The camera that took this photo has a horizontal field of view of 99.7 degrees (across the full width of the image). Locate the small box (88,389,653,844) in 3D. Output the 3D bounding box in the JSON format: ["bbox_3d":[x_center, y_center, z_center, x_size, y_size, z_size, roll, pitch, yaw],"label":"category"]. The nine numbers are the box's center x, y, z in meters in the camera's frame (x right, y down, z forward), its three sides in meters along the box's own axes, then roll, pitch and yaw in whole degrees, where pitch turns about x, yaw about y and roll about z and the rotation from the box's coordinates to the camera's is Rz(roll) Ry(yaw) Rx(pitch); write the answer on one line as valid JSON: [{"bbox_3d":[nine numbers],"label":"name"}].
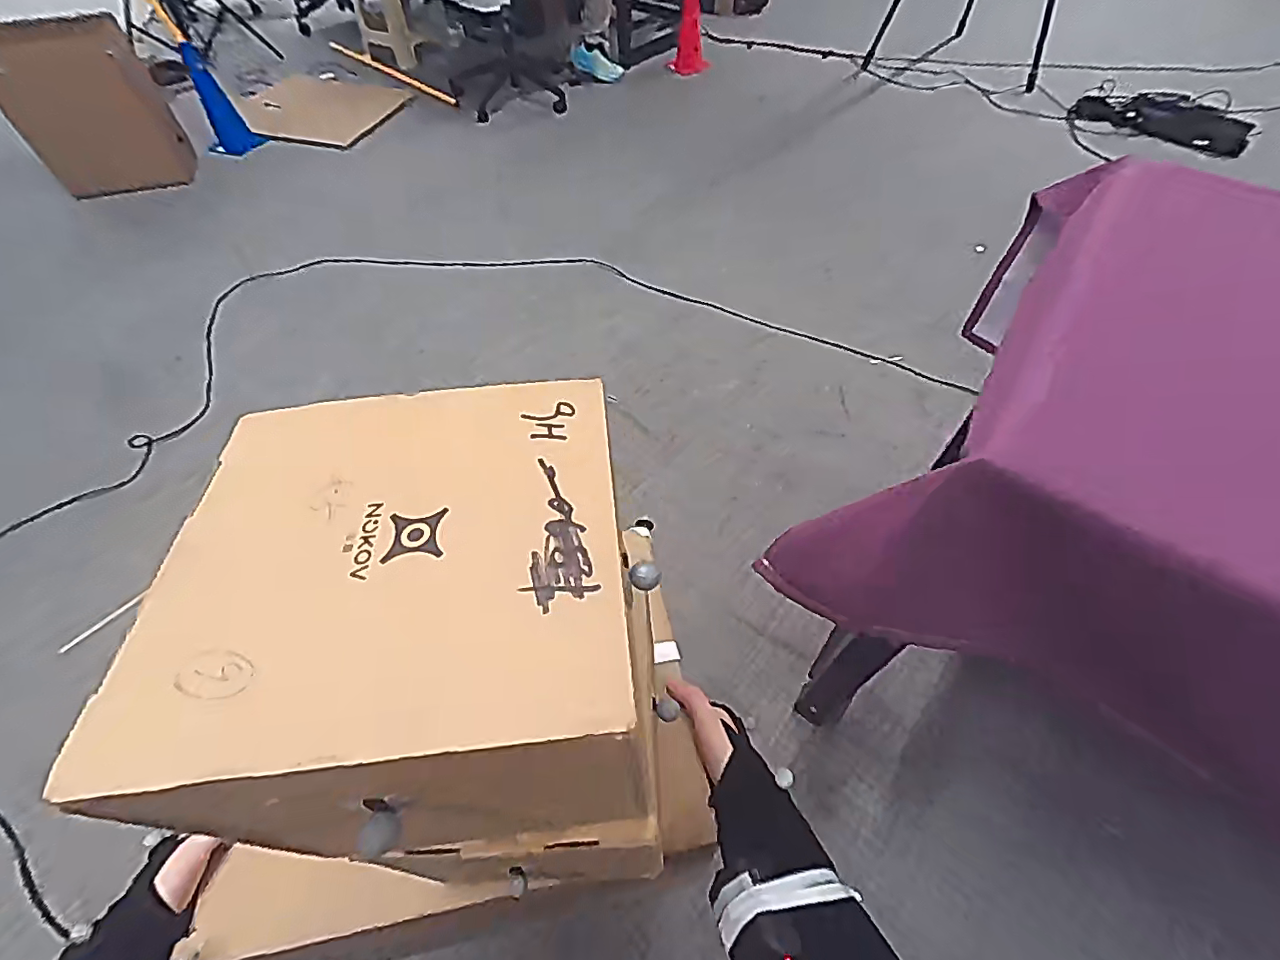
[{"bbox_3d":[-0.091,0.077,0.282,0.179,0.176,0.168,-7,52,-1],"label":"small box"}]

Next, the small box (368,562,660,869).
[{"bbox_3d":[-0.071,0.180,0.409,0.168,0.176,0.179,-3,52,1],"label":"small box"}]
